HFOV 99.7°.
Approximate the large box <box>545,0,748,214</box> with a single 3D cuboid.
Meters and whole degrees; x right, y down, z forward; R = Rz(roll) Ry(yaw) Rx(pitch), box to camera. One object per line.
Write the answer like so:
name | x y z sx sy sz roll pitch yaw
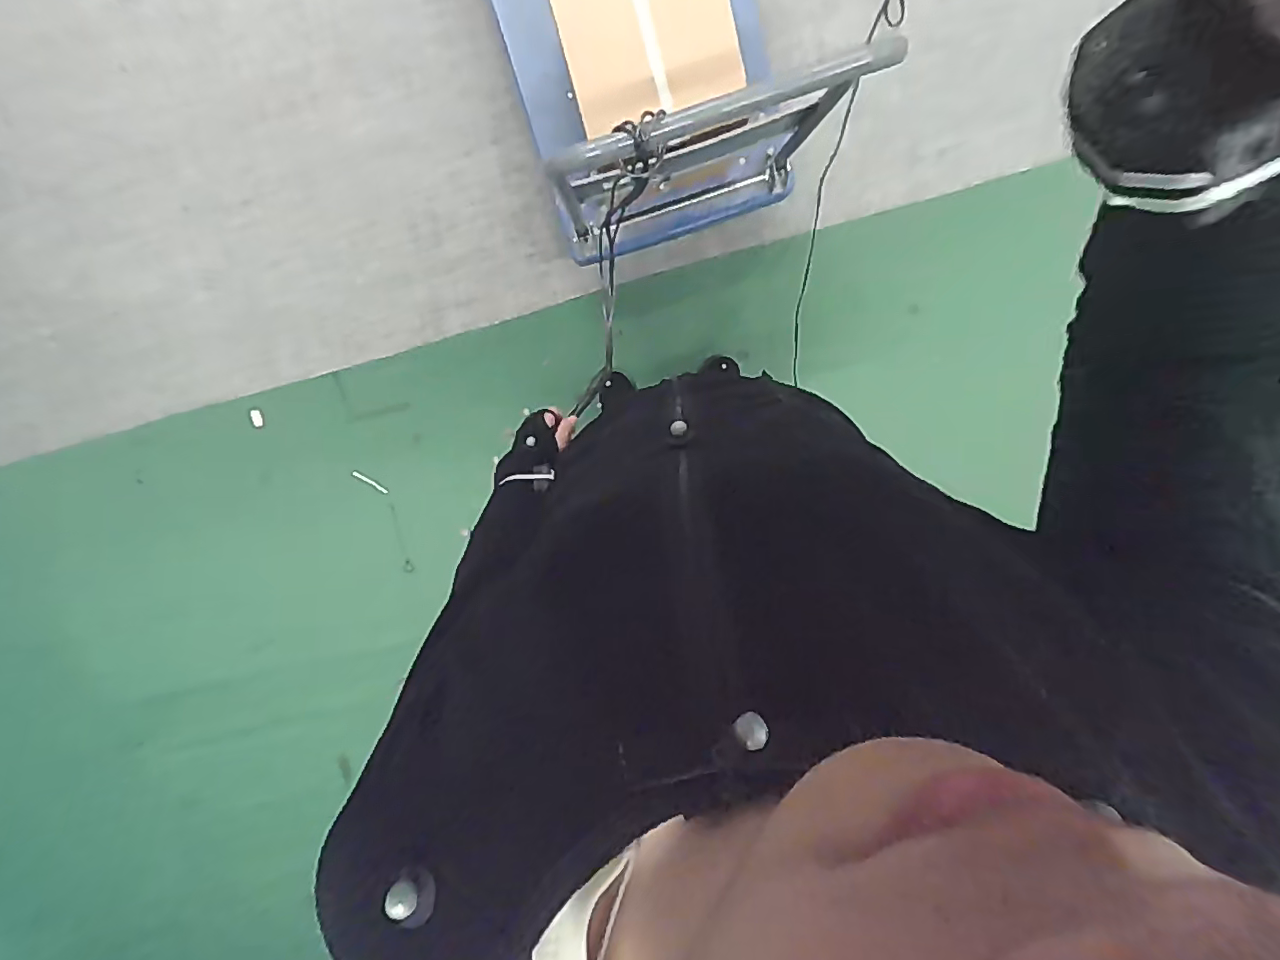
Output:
large box | 0.009 -0.853 1.148 0.320 0.320 0.408 -15 100 3
